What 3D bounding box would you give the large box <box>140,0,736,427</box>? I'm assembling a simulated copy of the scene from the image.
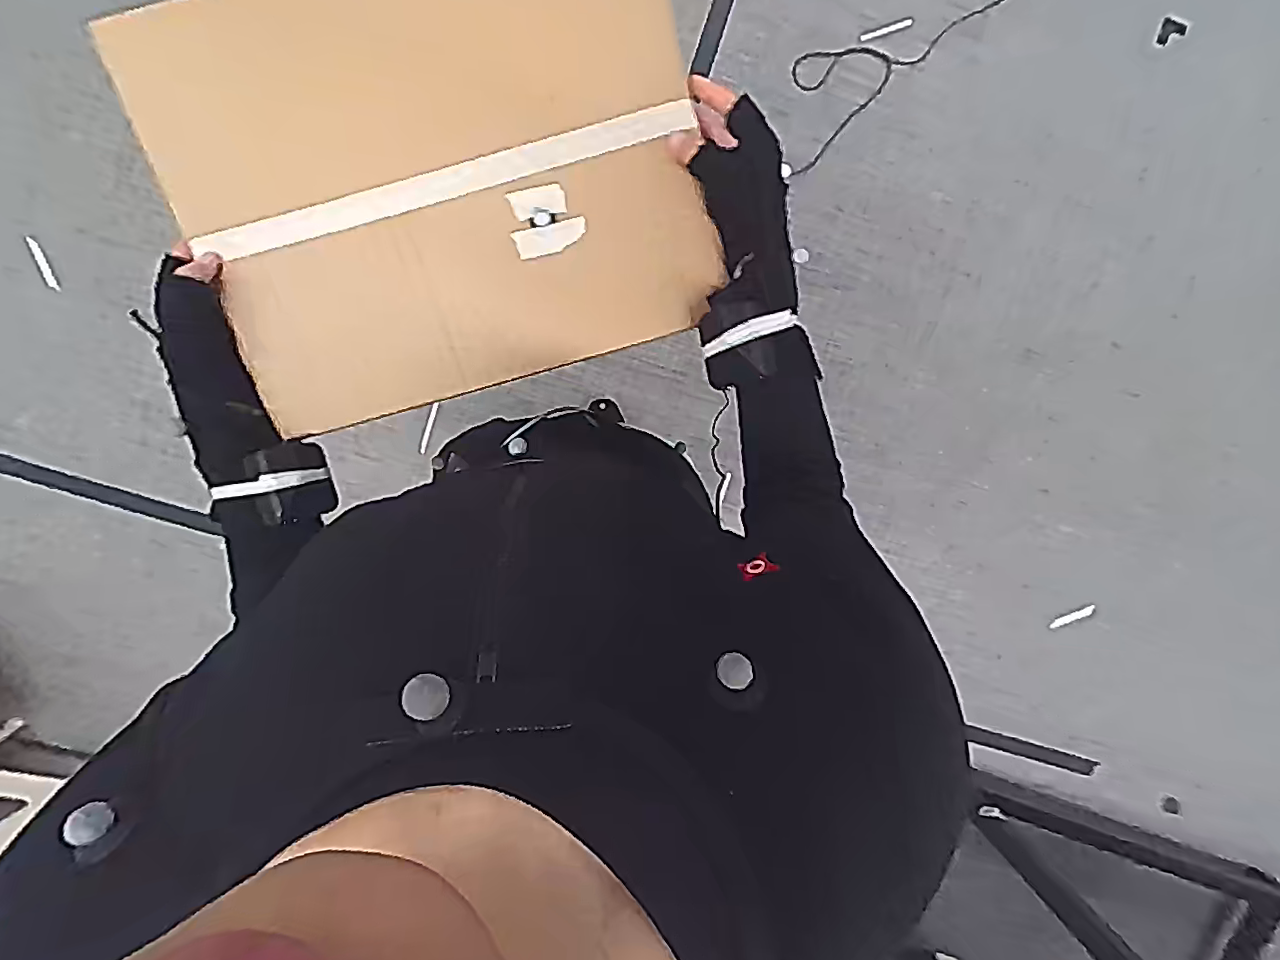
[{"bbox_3d":[-0.155,-0.277,0.580,0.408,0.320,0.320,-15,107,-1],"label":"large box"}]
